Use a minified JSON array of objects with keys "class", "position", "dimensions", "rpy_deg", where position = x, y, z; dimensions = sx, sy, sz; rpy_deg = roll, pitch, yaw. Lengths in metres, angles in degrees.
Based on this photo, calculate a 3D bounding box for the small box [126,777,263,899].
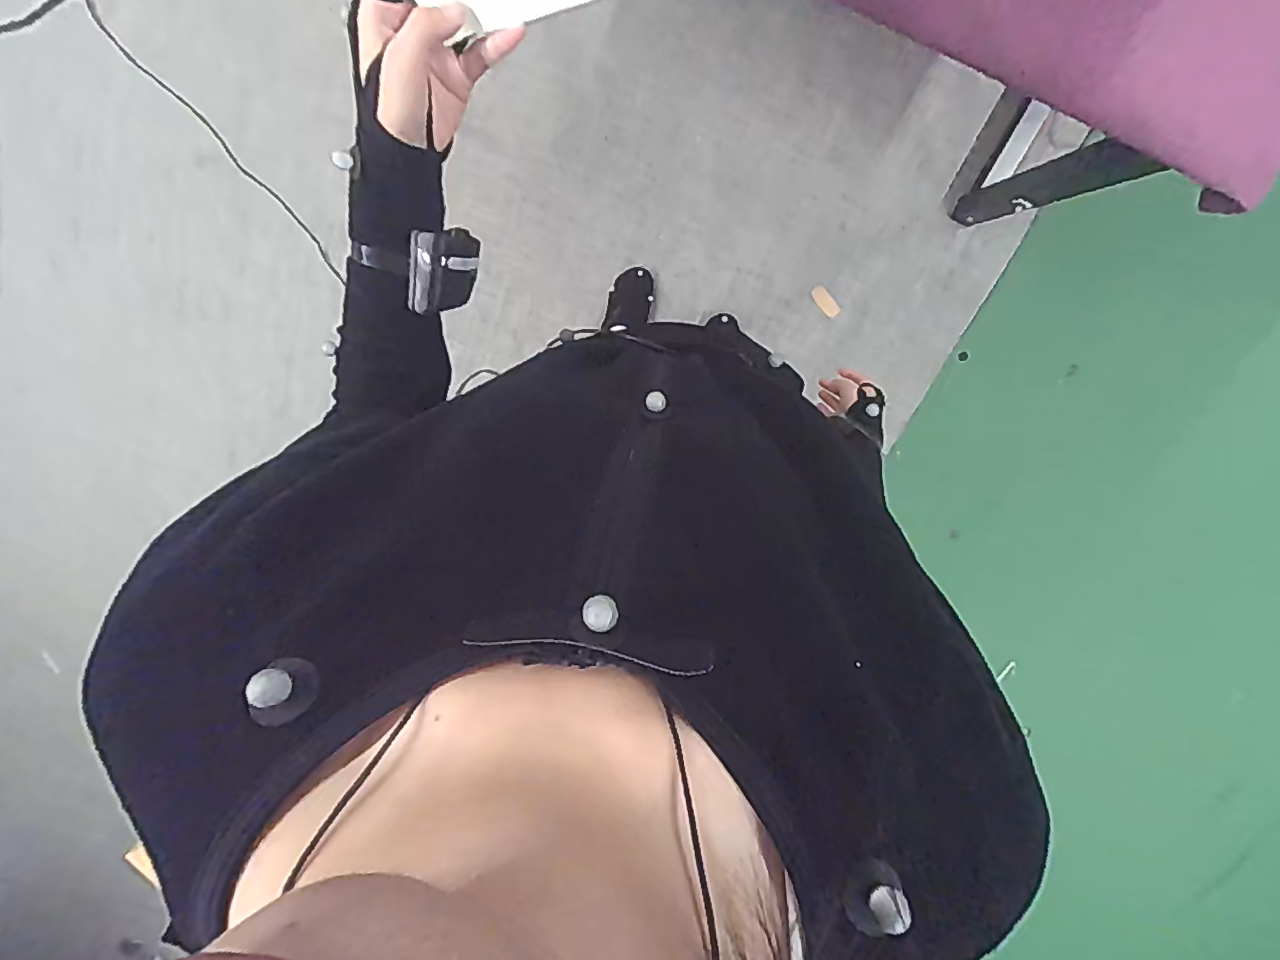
[{"class":"small box","position":[-1.124,0.907,1.380],"dimensions":[0.168,0.176,0.179],"rpy_deg":[-32,101,15]}]
